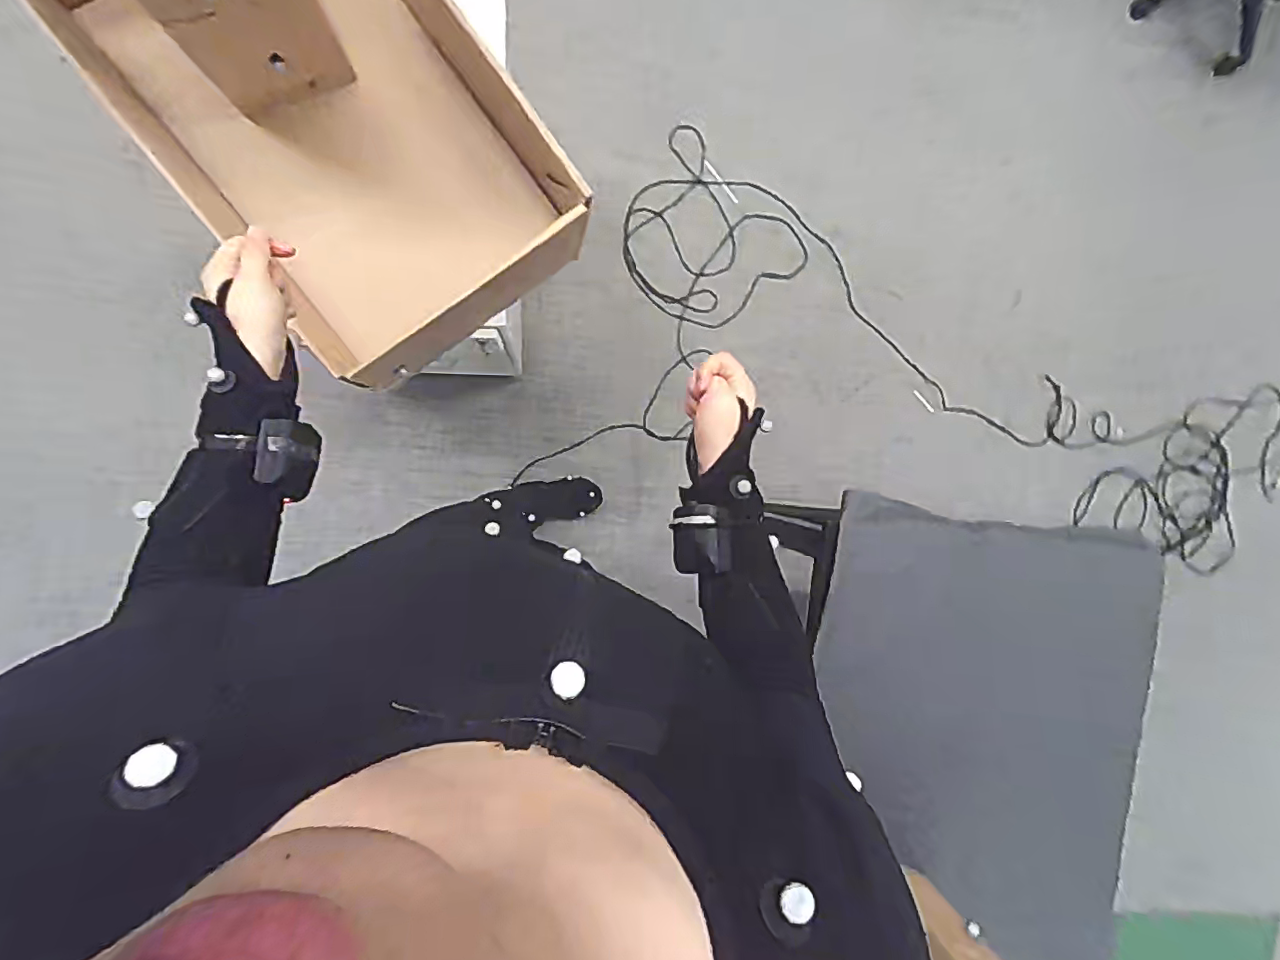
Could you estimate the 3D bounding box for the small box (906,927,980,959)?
[{"bbox_3d":[0.390,0.685,0.617,0.168,0.176,0.179,39,85,-10],"label":"small box"}]
